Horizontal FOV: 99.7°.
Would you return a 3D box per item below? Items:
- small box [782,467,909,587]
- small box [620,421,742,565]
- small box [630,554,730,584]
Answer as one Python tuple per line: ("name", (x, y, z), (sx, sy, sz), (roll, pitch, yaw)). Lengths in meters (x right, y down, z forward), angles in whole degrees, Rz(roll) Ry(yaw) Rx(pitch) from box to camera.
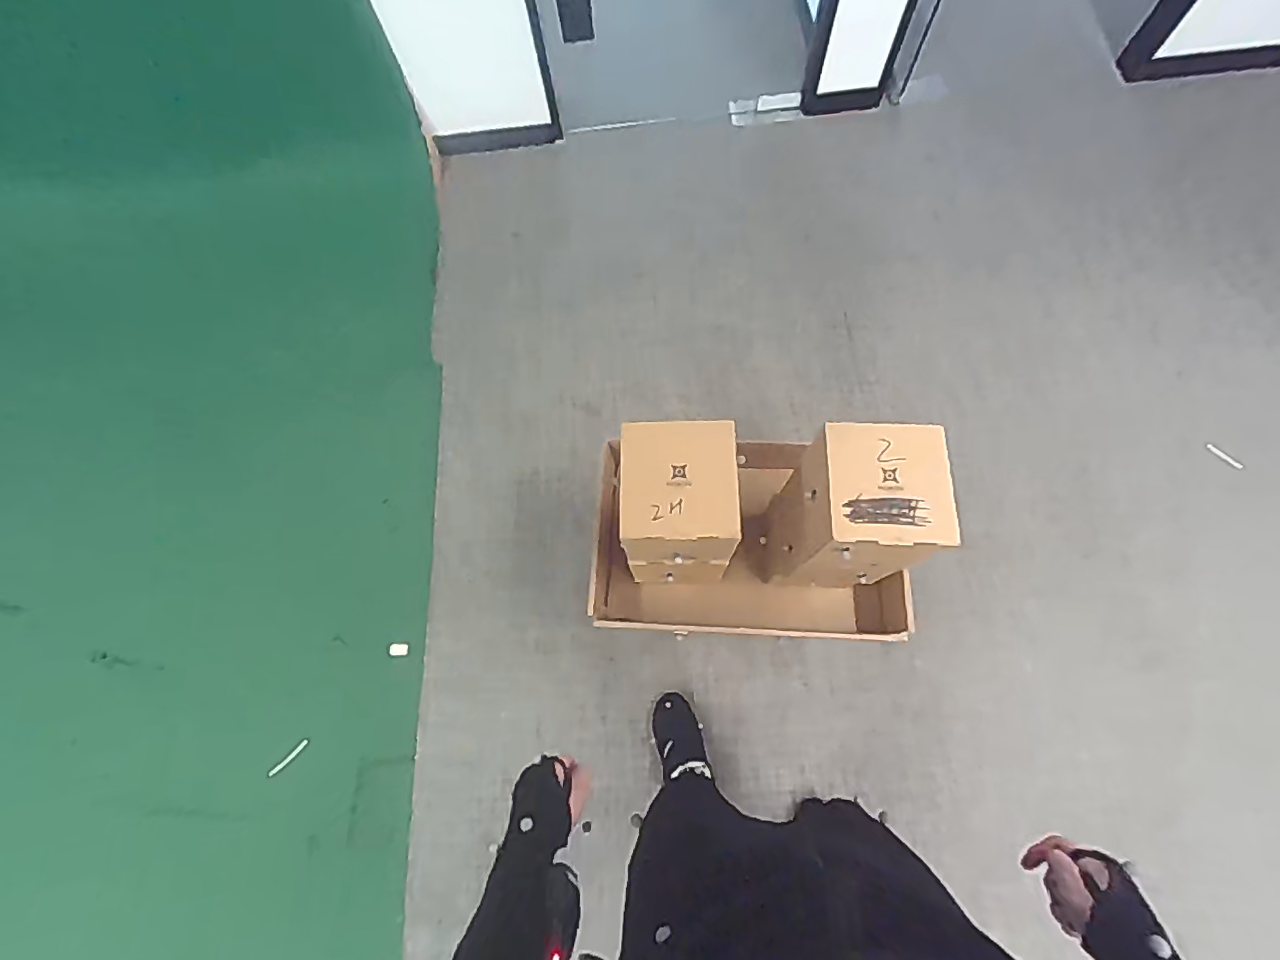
("small box", (0.350, 0.089, 0.952), (0.168, 0.176, 0.179), (2, 70, 4))
("small box", (0.060, 0.025, 0.819), (0.168, 0.176, 0.179), (0, 71, 4))
("small box", (0.068, 0.086, 0.973), (0.168, 0.176, 0.179), (-1, 70, 2))
